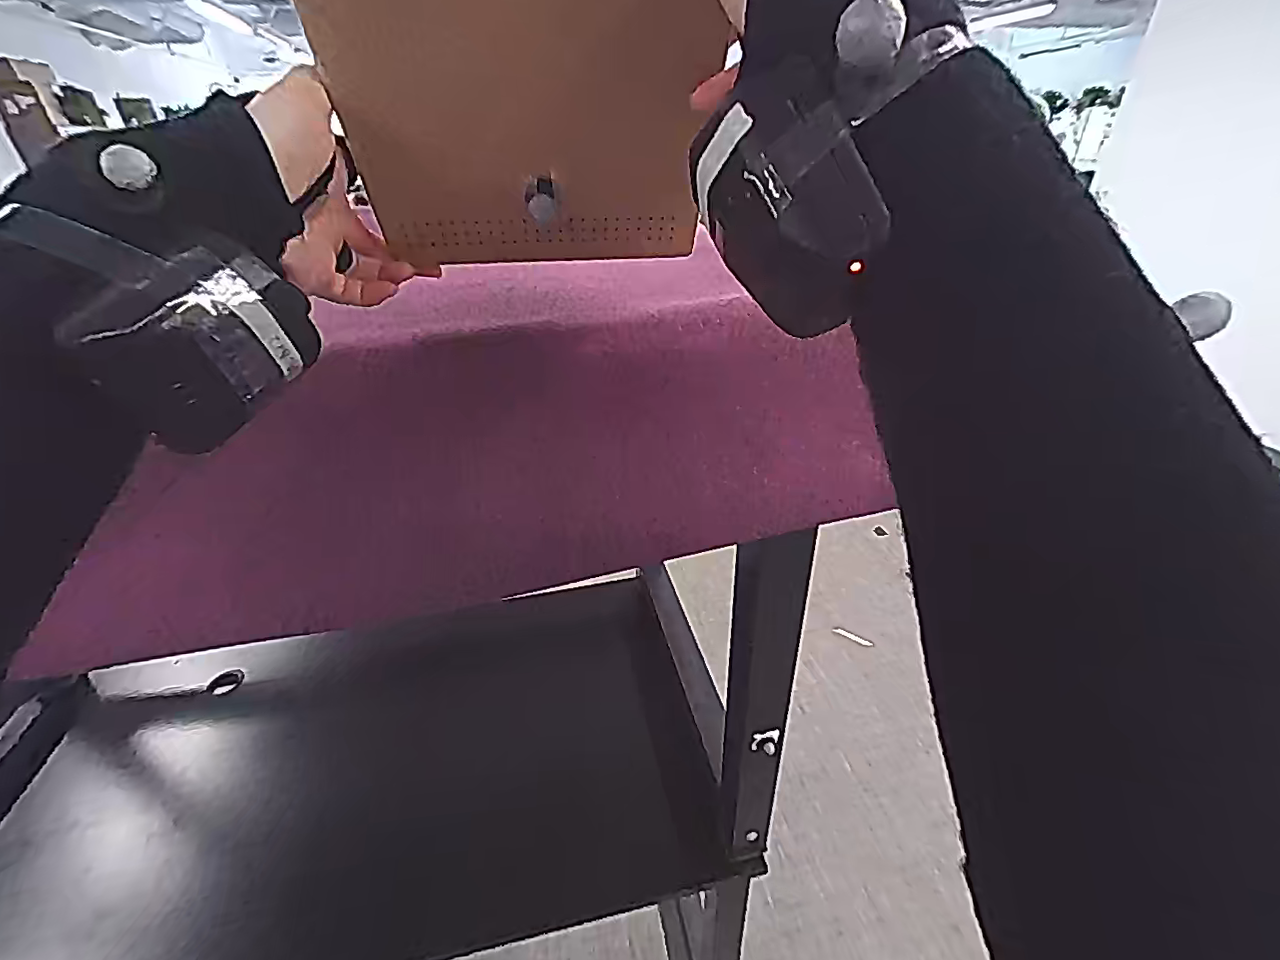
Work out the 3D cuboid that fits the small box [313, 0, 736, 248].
[{"bbox_3d":[-0.055,-0.245,0.287,0.179,0.176,0.168,-5,59,-7],"label":"small box"}]
